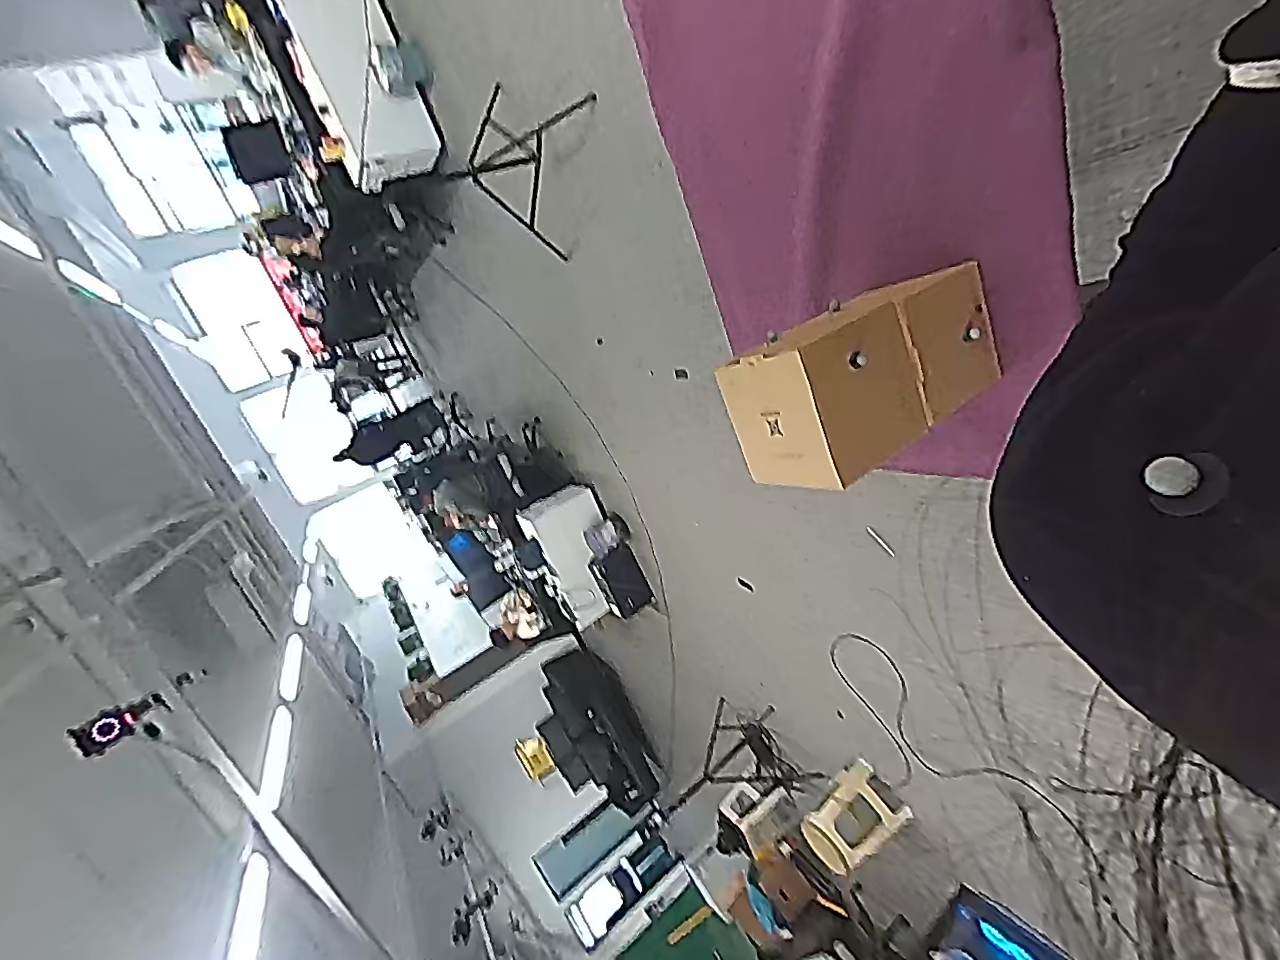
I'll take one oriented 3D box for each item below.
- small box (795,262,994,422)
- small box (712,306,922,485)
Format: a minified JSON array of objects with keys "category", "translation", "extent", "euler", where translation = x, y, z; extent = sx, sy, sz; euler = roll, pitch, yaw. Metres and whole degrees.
[{"category":"small box","translation":[0.359,-0.187,0.771],"extent":[0.179,0.176,0.168],"euler":[6,123,61]},{"category":"small box","translation":[0.231,-0.111,0.707],"extent":[0.168,0.176,0.179],"euler":[7,124,63]}]
